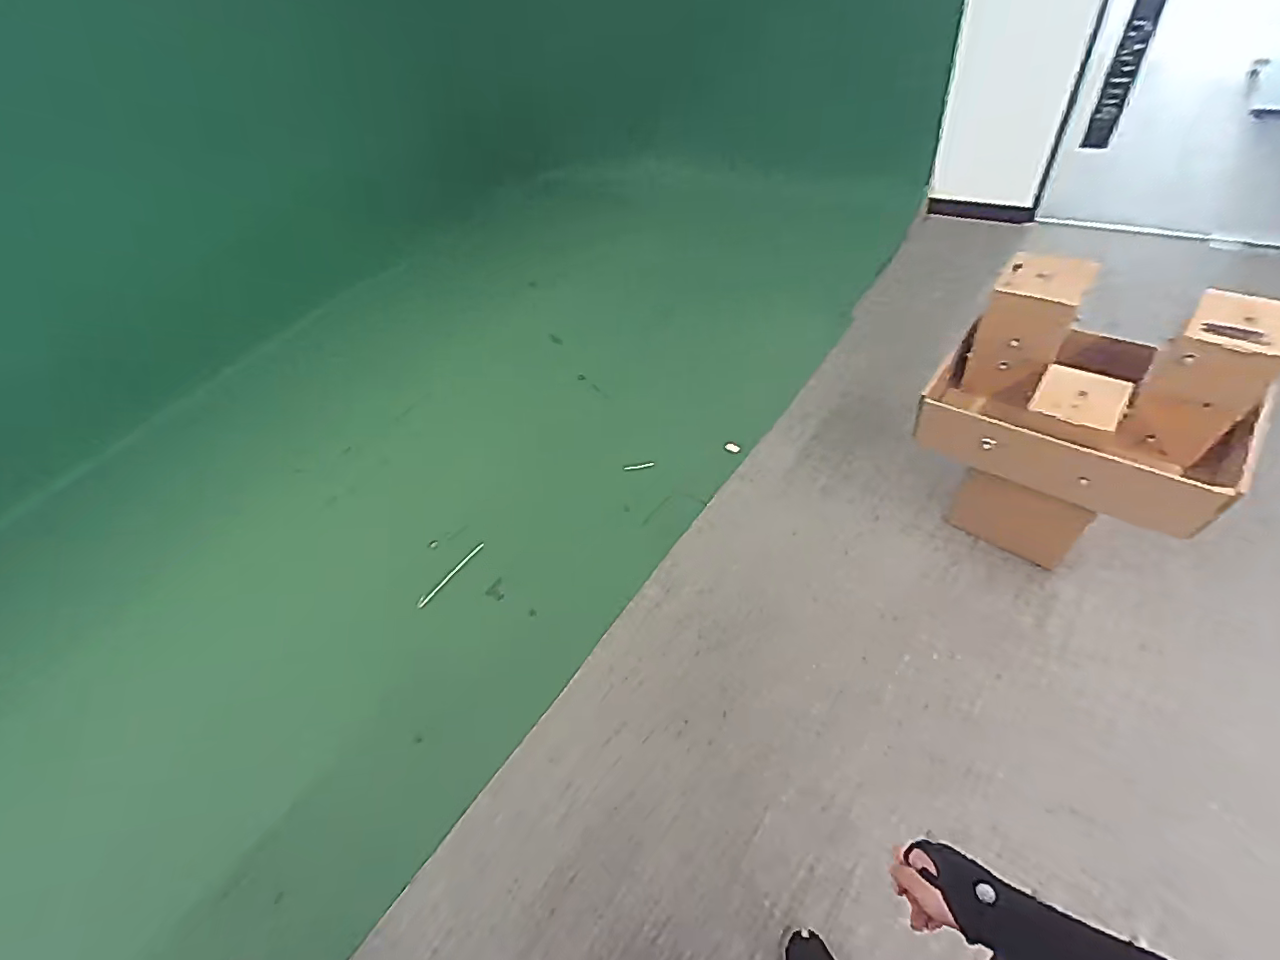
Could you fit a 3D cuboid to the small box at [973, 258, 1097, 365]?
[{"bbox_3d":[0.956,-0.407,1.321,0.179,0.176,0.168,28,64,31],"label":"small box"}]
